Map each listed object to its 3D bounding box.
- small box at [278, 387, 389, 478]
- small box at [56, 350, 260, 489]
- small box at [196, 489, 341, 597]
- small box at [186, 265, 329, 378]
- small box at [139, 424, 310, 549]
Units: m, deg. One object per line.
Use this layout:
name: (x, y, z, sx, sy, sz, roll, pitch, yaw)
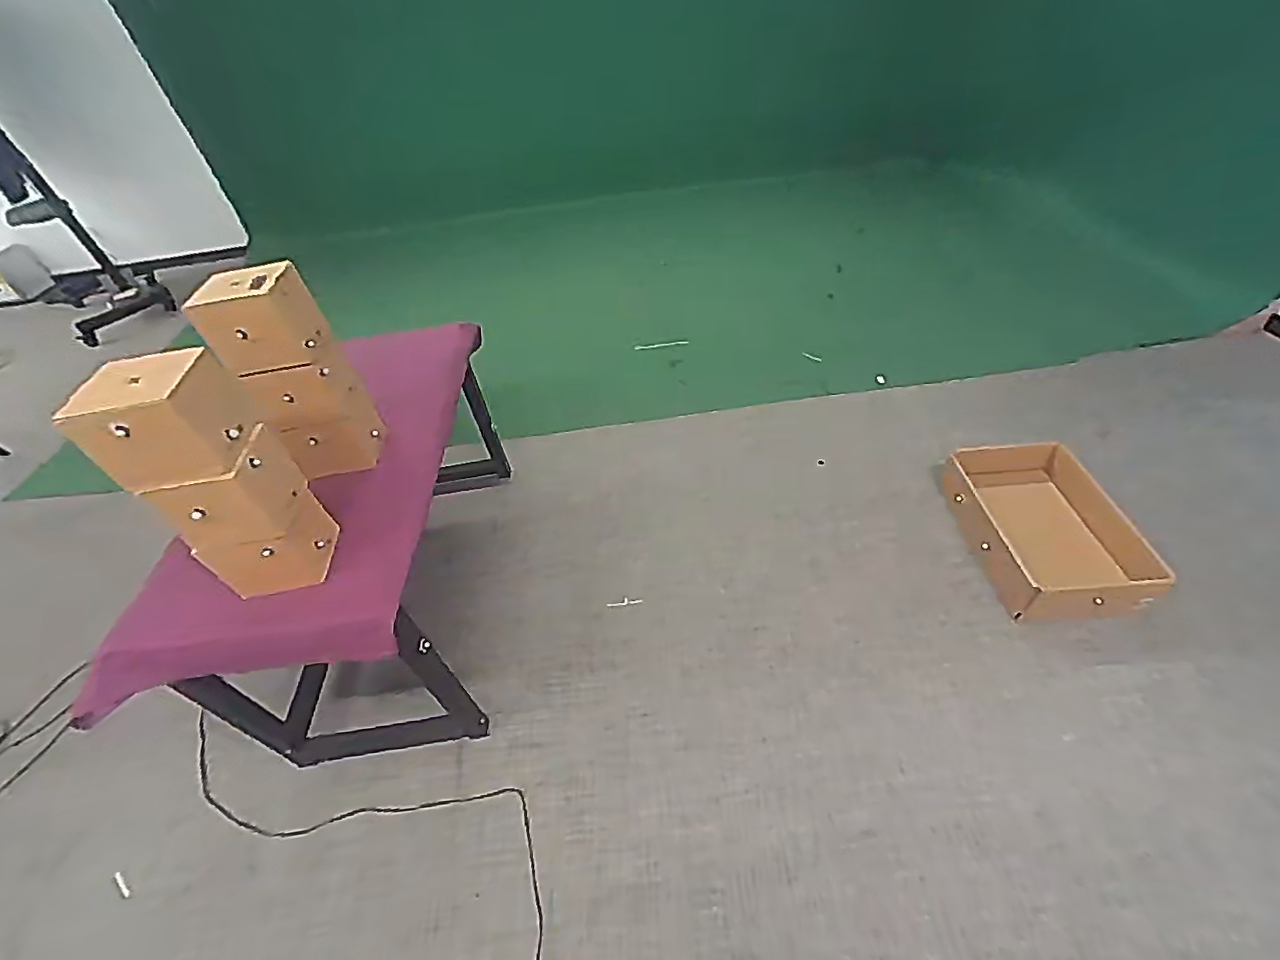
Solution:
small box: (-0.804, -0.122, 1.437, 0.179, 0.176, 0.168, -9, 45, 0)
small box: (-0.829, -0.103, 0.955, 0.179, 0.176, 0.168, -11, 44, -3)
small box: (-0.795, 0.135, 1.179, 0.179, 0.176, 0.168, -11, 44, -3)
small box: (-0.832, -0.350, 1.202, 0.179, 0.176, 0.168, -11, 44, 0)
small box: (-0.800, 0.017, 1.064, 0.179, 0.176, 0.168, -10, 44, -1)
